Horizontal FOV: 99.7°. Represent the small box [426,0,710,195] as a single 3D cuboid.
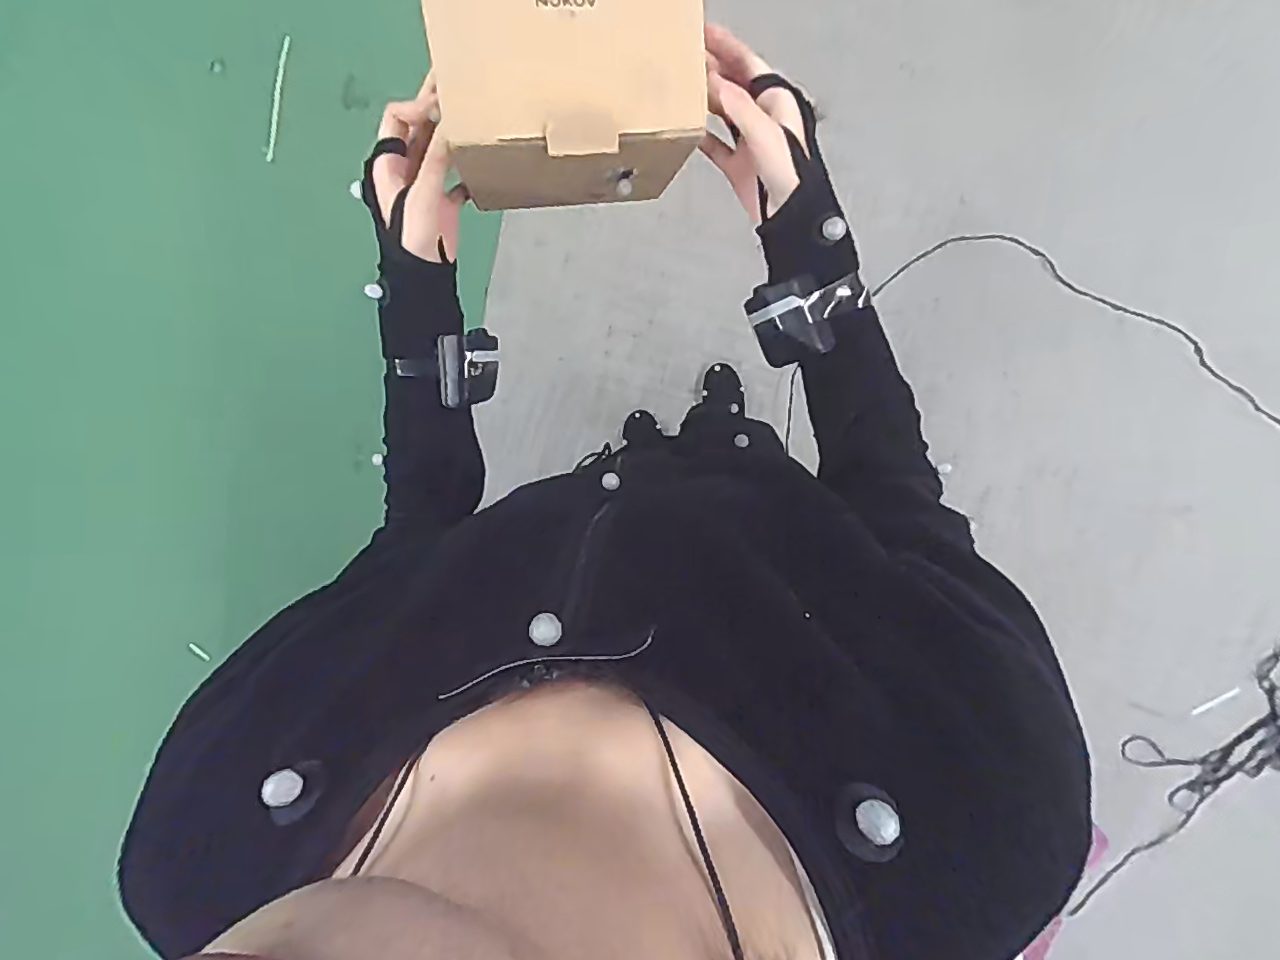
[{"bbox_3d":[-0.054,-0.314,0.384,0.168,0.176,0.179,-7,105,-9],"label":"small box"}]
